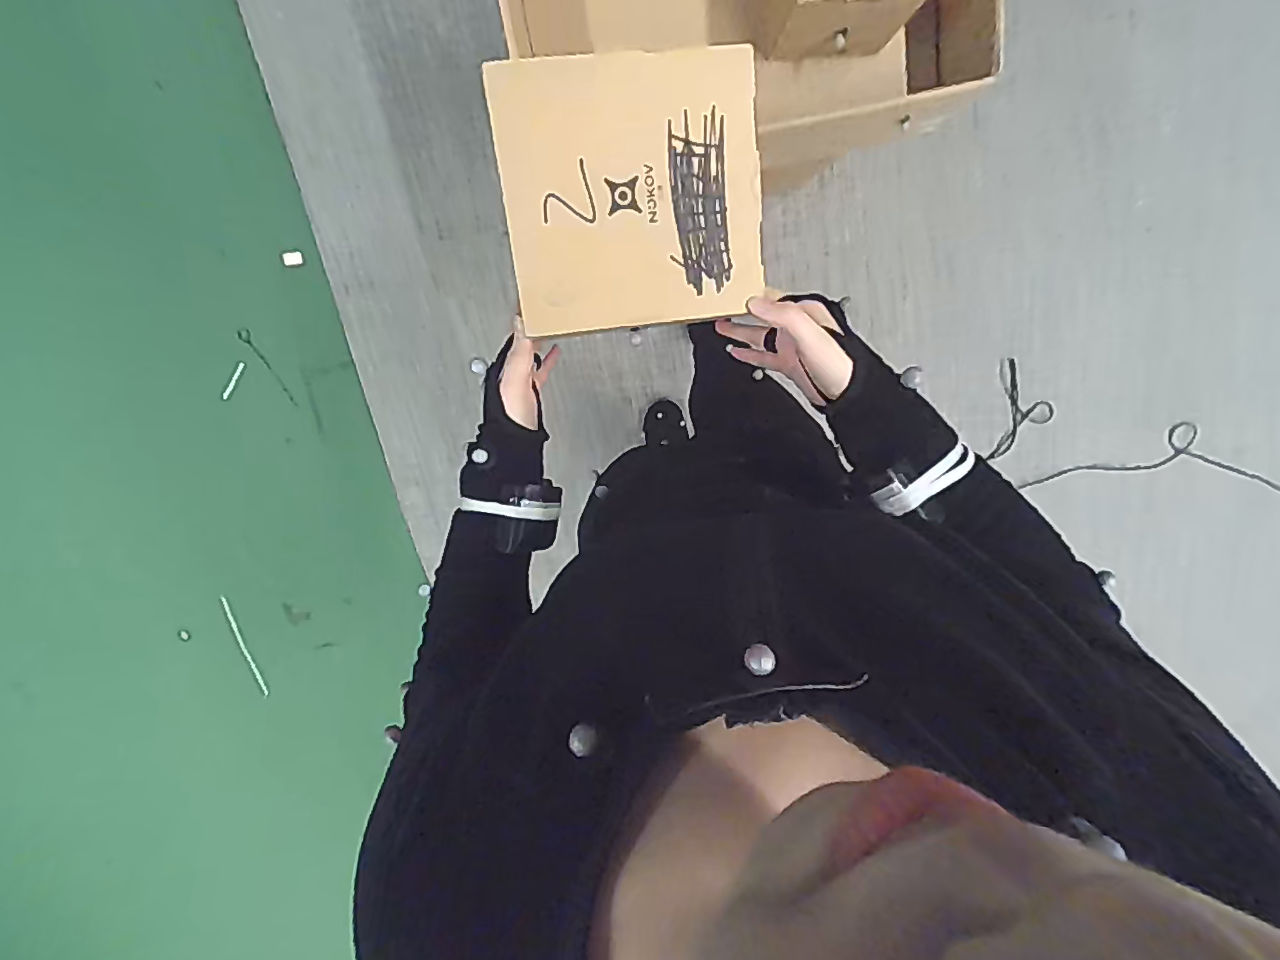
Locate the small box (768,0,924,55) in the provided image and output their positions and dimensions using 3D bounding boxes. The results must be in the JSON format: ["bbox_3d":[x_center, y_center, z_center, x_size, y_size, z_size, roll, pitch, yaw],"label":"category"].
[{"bbox_3d":[0.264,-0.679,0.695,0.168,0.176,0.179,-2,108,2],"label":"small box"}]
